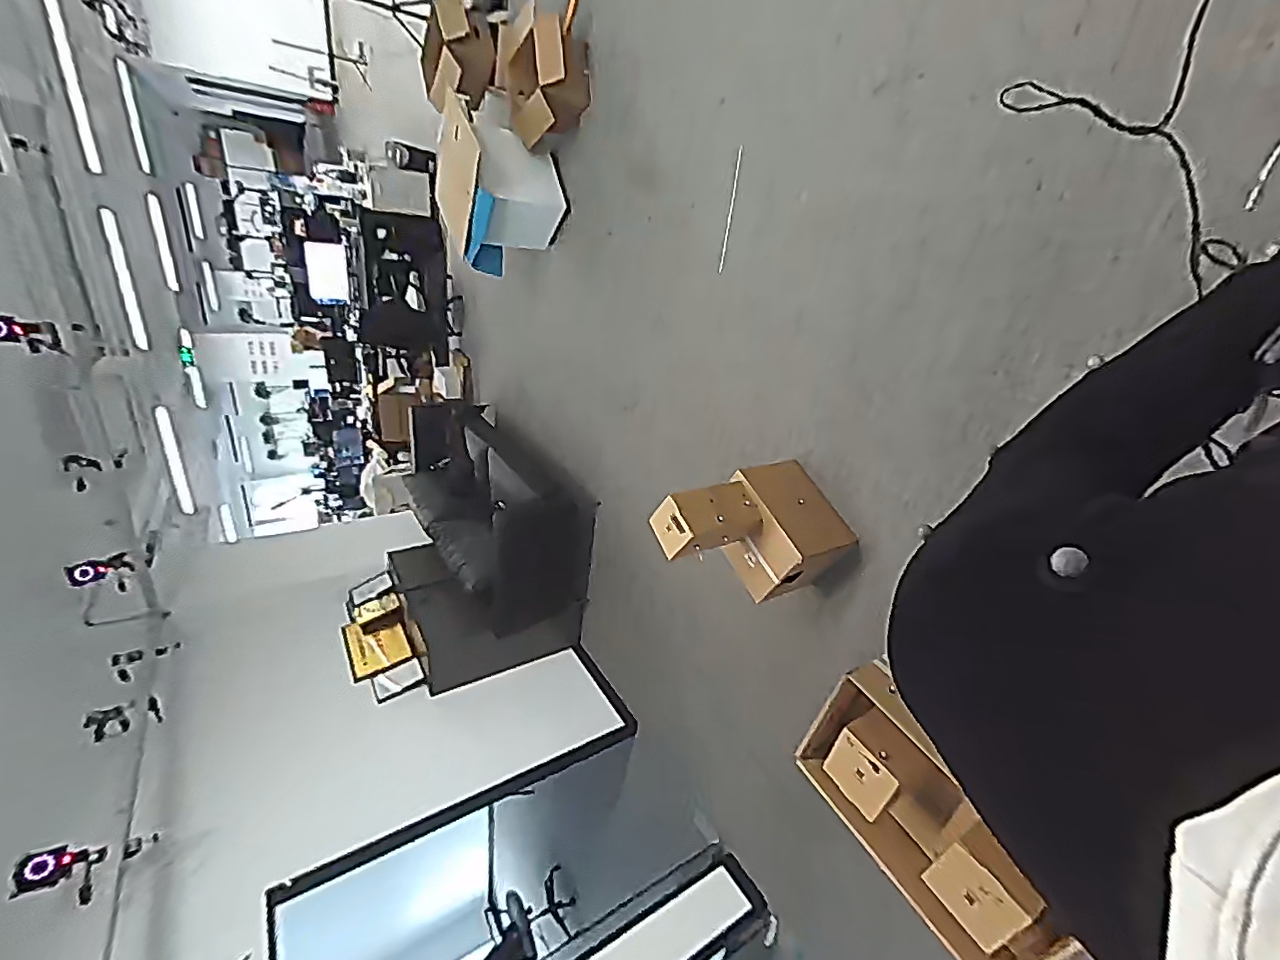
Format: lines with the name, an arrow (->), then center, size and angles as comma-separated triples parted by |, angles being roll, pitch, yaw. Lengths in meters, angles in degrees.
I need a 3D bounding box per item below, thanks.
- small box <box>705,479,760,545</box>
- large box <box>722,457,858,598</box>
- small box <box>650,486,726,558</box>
small box -> 0.298, 0.115, 1.939 | 0.168, 0.176, 0.179 | 62, 142, 23
large box -> 0.526, 0.169, 2.057 | 0.408, 0.320, 0.320 | 57, 142, 29
small box -> 0.168, 0.138, 1.842 | 0.168, 0.176, 0.179 | 62, 143, 23
